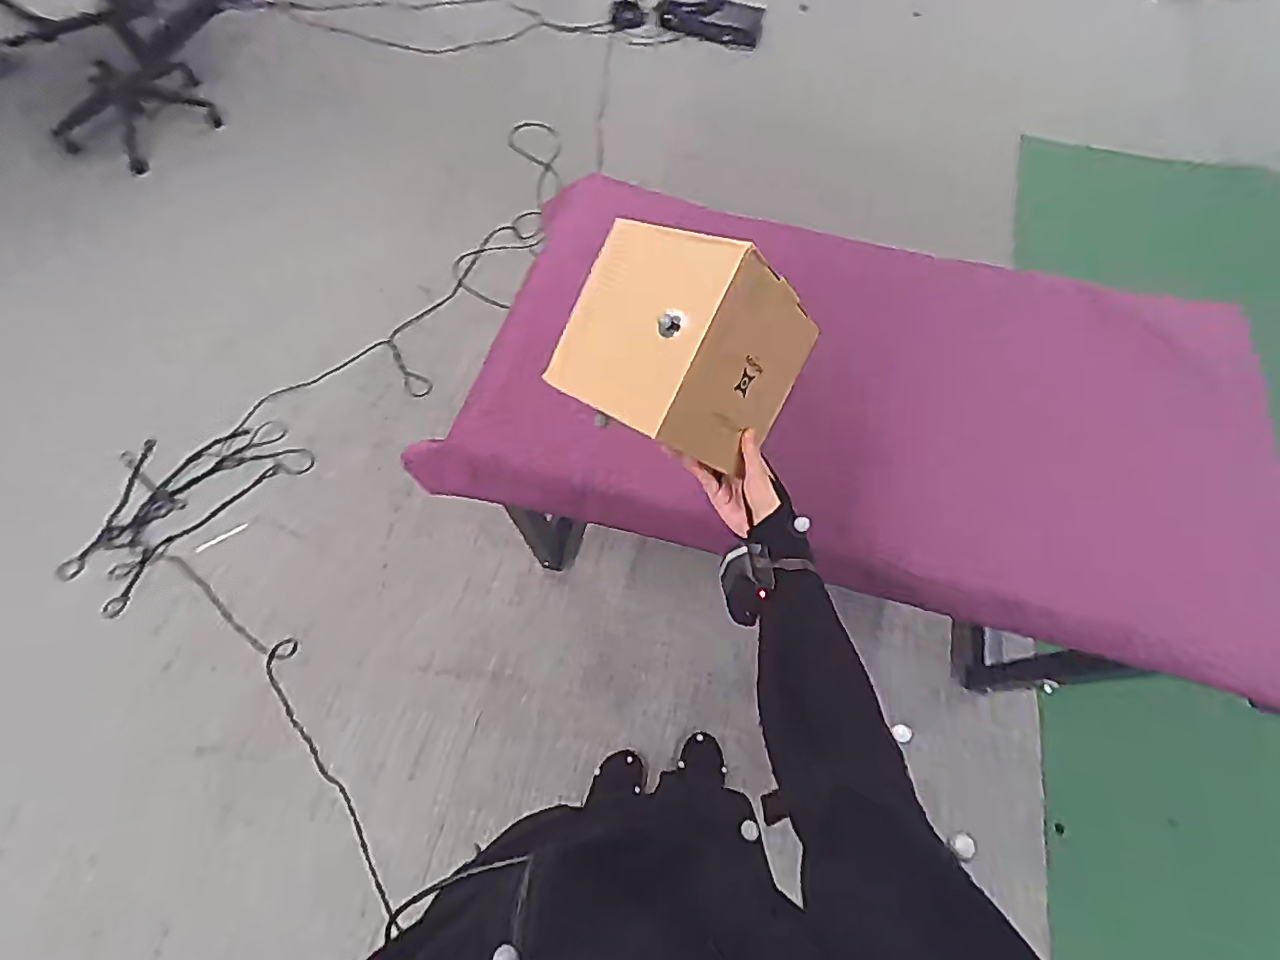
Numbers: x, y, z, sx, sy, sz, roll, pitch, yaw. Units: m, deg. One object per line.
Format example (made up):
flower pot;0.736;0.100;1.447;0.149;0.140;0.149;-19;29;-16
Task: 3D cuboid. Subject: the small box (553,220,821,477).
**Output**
small box;0.043;-0.128;0.534;0.176;0.168;0.179;32;98;36
